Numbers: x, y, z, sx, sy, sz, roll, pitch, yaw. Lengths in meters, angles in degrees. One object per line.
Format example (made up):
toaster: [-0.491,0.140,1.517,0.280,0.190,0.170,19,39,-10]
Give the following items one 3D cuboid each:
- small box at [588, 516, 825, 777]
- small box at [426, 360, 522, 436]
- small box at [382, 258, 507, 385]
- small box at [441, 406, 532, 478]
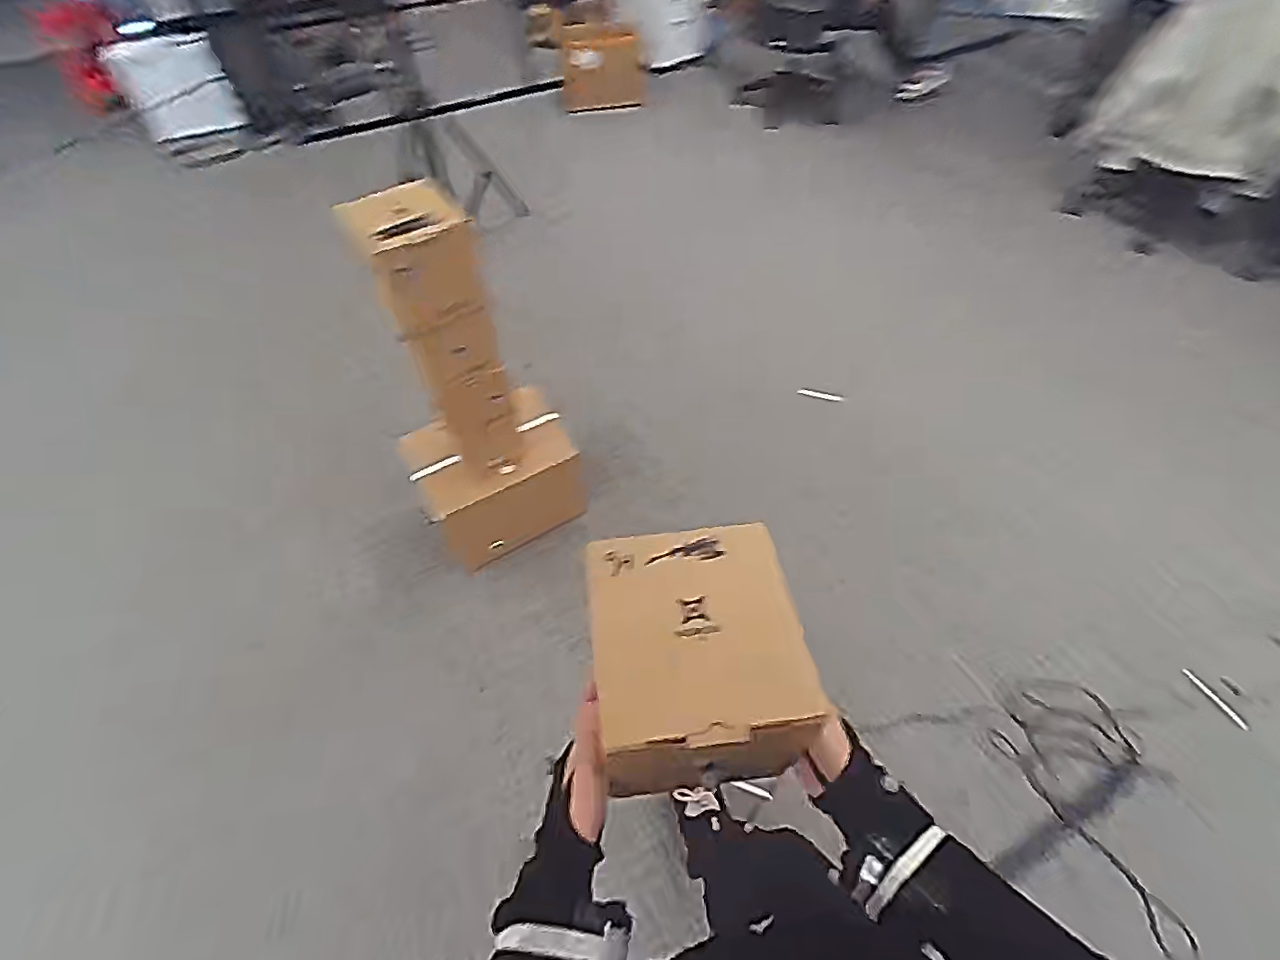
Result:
small box: [0.045,0.158,0.496,0.168,0.176,0.179,-5,51,-5]
small box: [-0.391,-0.226,1.261,0.168,0.176,0.179,-27,59,-18]
small box: [-0.397,-0.320,1.125,0.168,0.176,0.179,-31,61,-21]
small box: [-0.397,-0.137,1.396,0.168,0.176,0.179,-27,60,-16]
